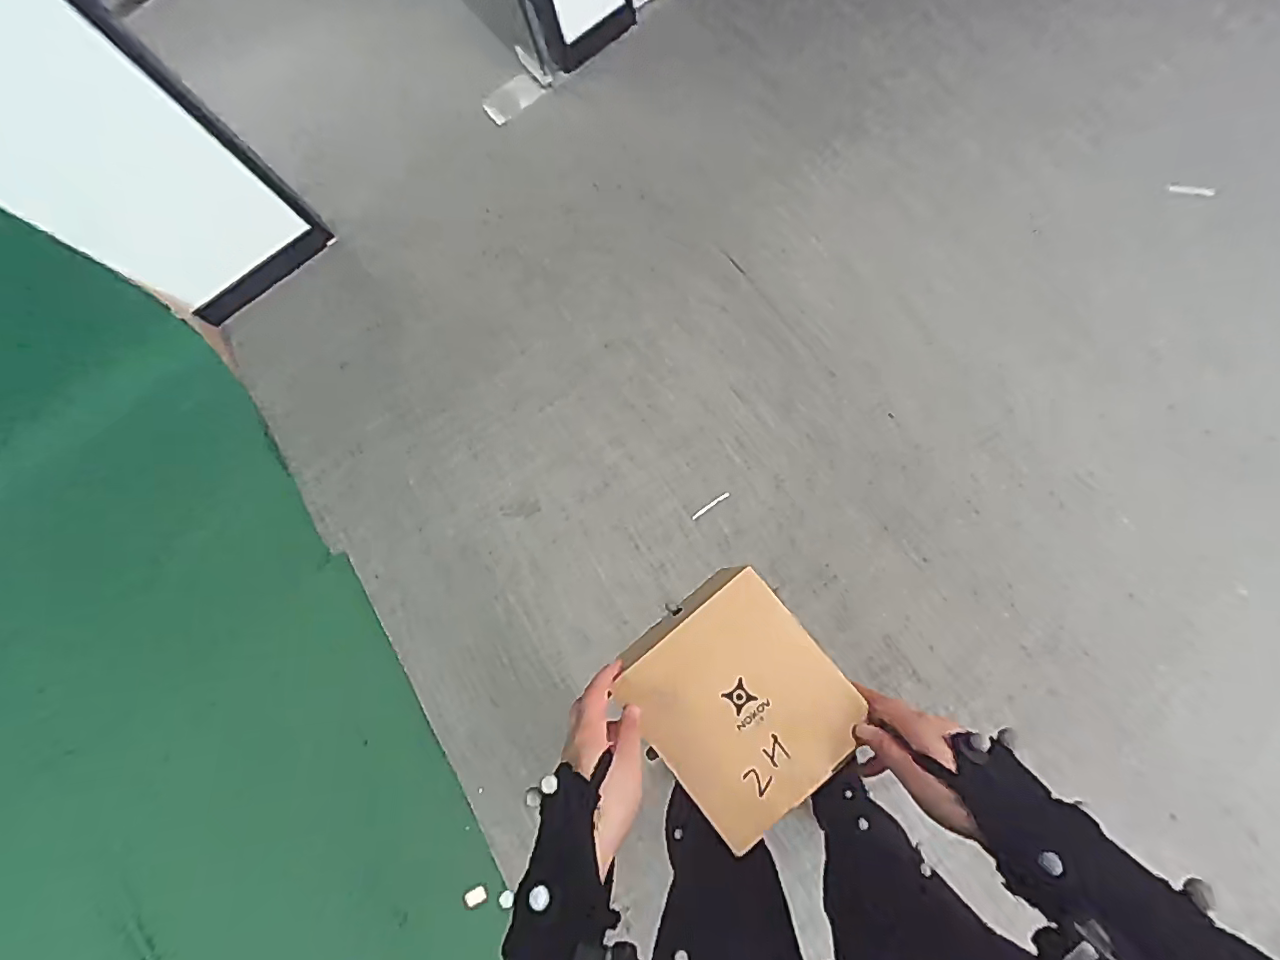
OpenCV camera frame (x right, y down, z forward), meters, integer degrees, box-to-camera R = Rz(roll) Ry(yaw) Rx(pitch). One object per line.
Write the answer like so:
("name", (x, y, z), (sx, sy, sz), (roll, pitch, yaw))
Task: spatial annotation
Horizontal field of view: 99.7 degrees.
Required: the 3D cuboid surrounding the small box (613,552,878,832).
("small box", (0.091, 0.194, 0.547), (0.168, 0.176, 0.179), (-39, 82, -5))
